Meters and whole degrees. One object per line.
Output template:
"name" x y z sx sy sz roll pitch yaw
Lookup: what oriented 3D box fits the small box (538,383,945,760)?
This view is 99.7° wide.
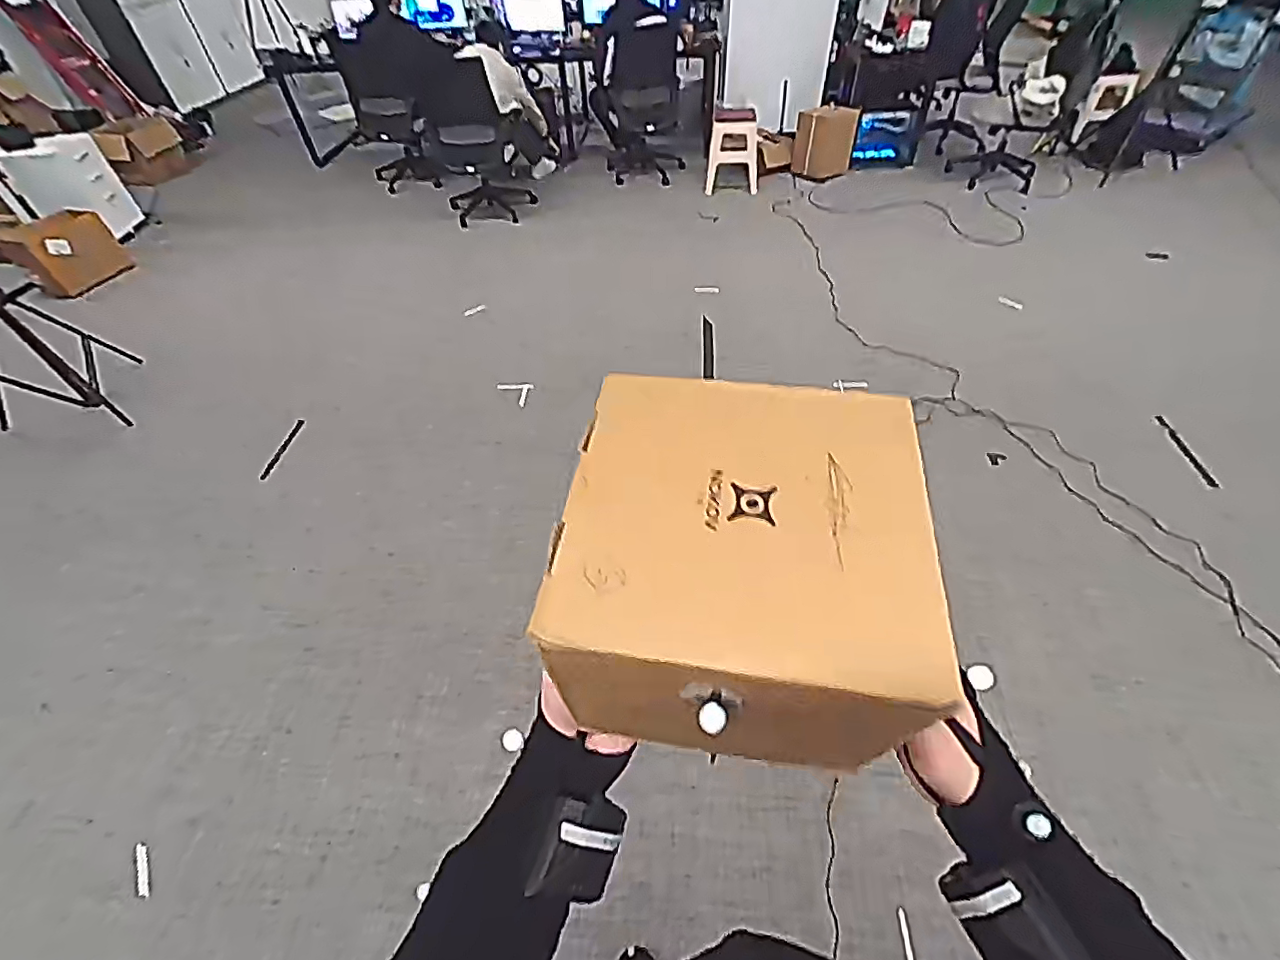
"small box" 0.055 0.062 0.339 0.179 0.176 0.168 7 54 7
